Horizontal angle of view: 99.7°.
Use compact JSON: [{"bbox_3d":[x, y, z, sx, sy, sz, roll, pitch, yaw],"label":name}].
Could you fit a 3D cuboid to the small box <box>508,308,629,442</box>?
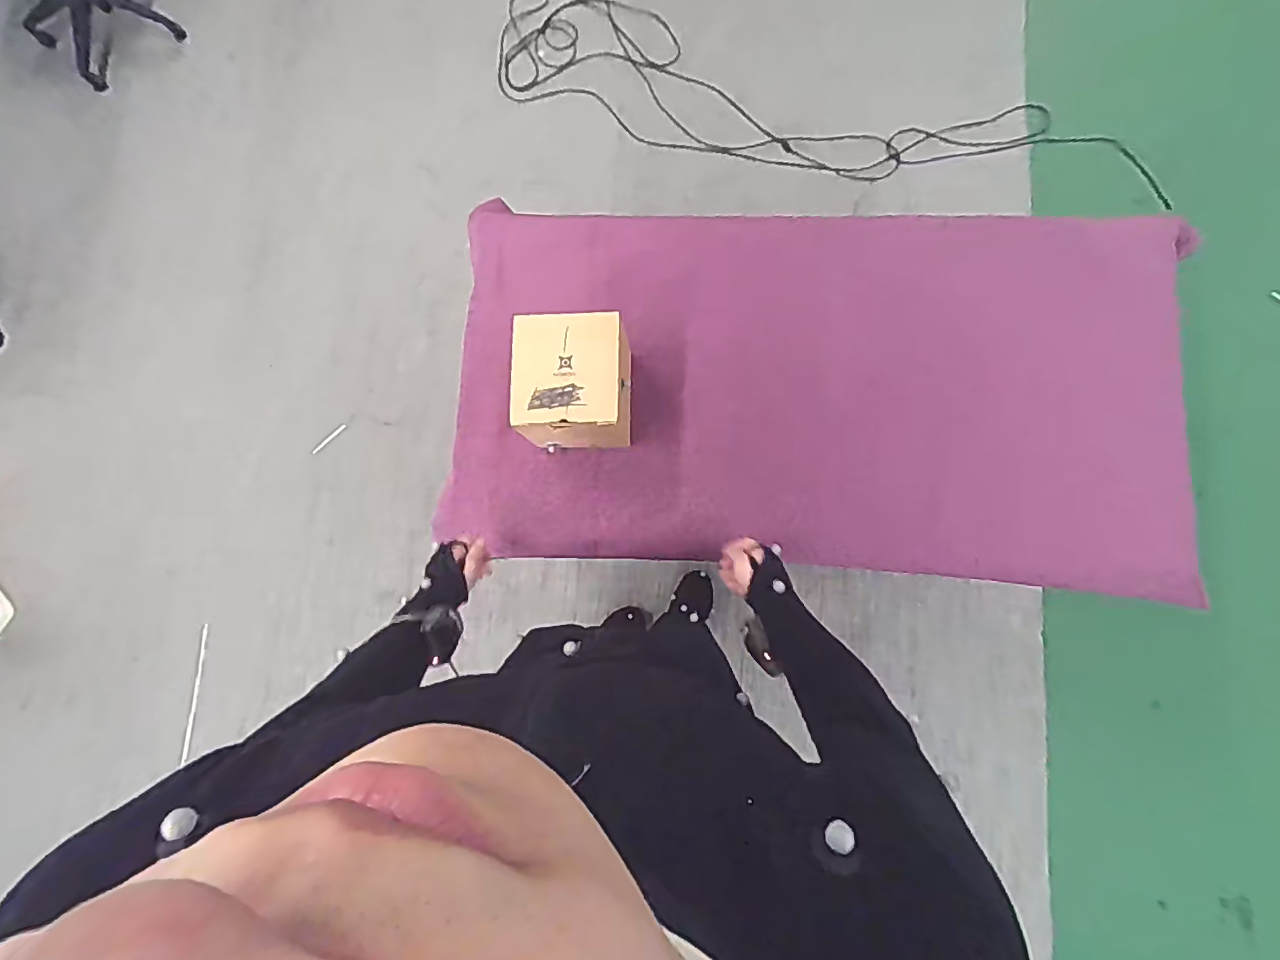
[{"bbox_3d":[-0.108,-0.161,0.885,0.168,0.176,0.179,0,81,4],"label":"small box"}]
